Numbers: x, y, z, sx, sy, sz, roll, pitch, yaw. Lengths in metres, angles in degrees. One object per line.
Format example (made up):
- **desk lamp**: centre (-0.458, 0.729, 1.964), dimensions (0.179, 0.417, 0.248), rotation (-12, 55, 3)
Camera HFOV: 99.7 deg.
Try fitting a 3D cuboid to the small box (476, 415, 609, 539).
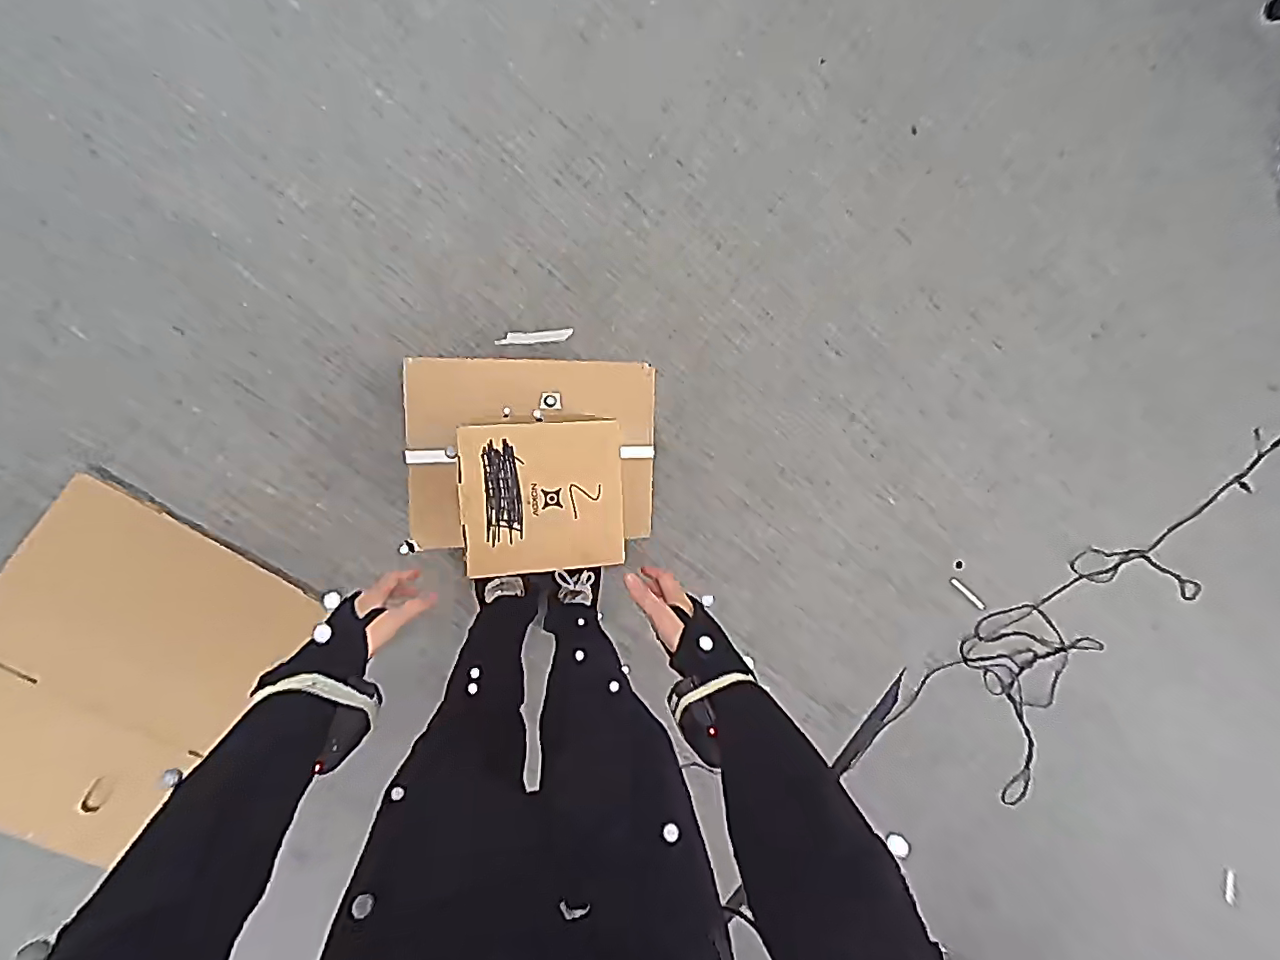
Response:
- **small box**: centre (-0.148, -0.013, 0.827), dimensions (0.179, 0.176, 0.168), rotation (-5, 99, -13)
